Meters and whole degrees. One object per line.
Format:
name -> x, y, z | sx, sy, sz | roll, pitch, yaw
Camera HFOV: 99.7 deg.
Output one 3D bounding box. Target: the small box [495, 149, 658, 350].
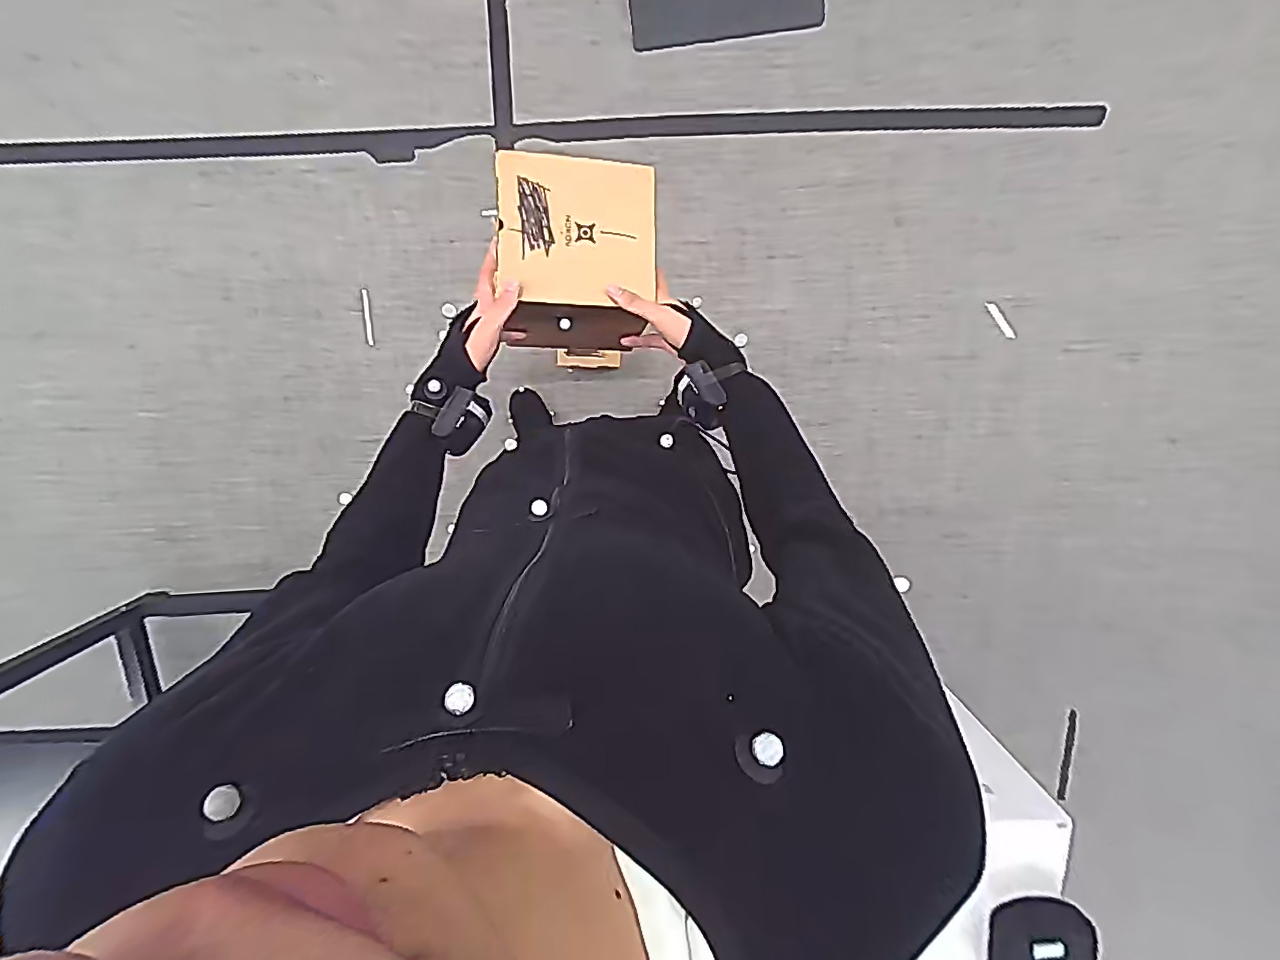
small box -> -0.079, -0.264, 0.658 | 0.179, 0.176, 0.168 | 0, 87, -11
